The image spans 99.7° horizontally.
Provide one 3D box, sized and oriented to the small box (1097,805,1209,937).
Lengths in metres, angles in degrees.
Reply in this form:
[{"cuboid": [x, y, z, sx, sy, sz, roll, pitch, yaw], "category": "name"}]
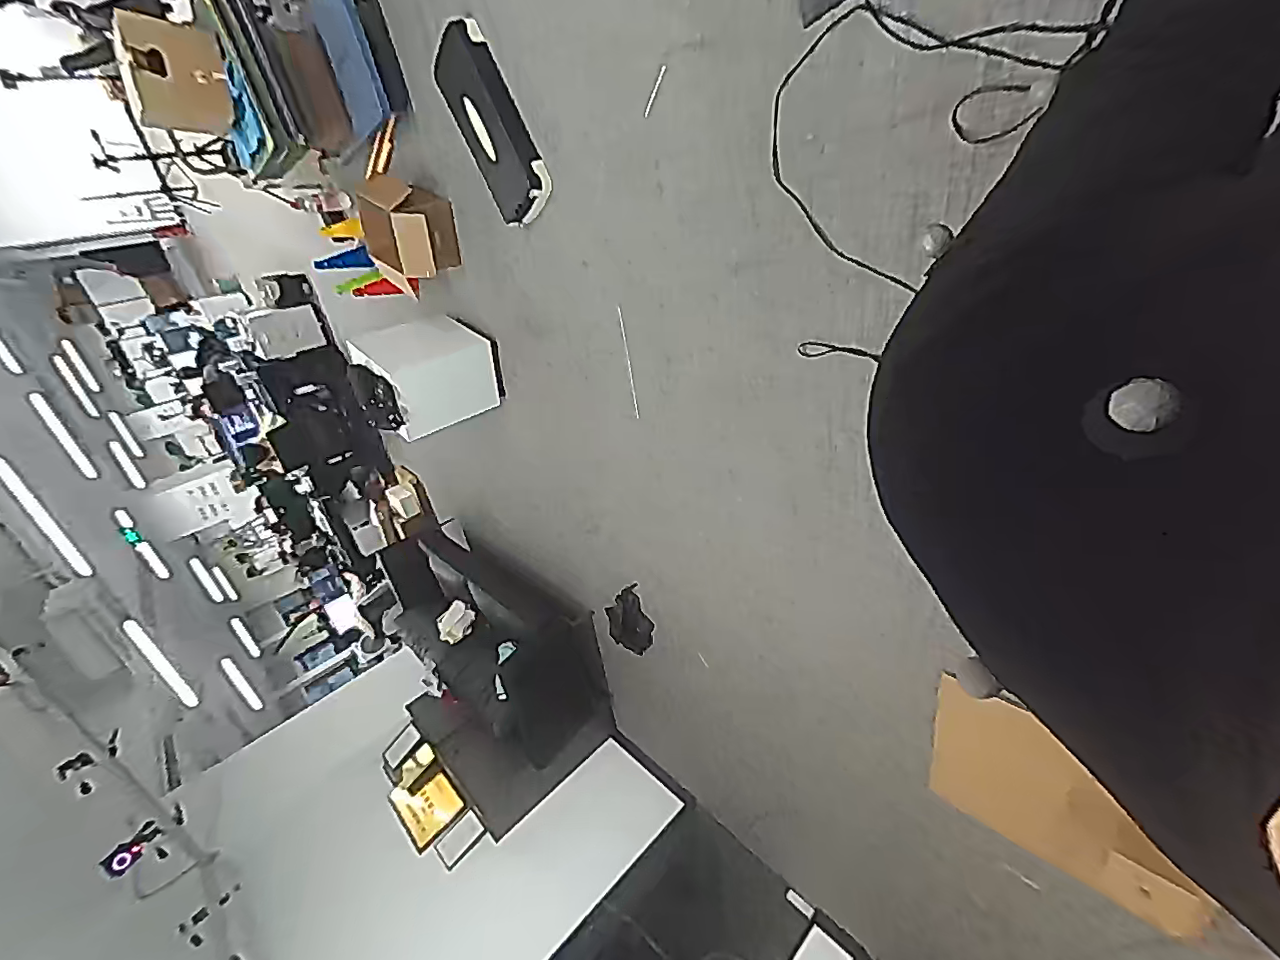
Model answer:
[{"cuboid": [1.301, 0.982, 1.370, 0.168, 0.176, 0.179, 18, 128, 44], "category": "small box"}]
